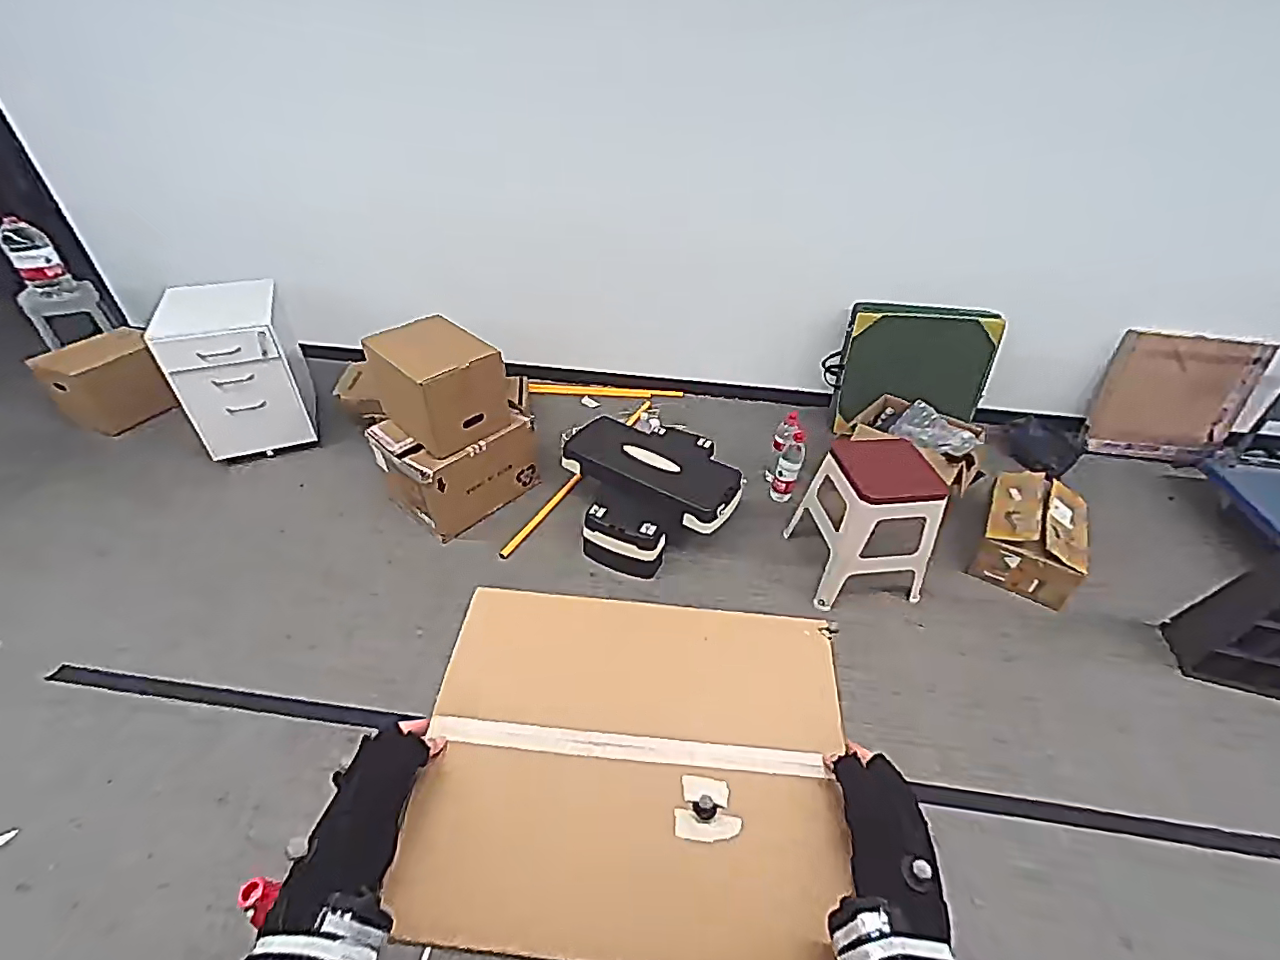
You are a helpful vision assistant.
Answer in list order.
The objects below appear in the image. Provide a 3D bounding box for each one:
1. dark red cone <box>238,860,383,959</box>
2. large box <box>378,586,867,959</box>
[{"bbox_3d":[-0.658,0.804,1.016,0.201,0.394,0.202,12,41,9],"label":"dark red cone"},{"bbox_3d":[-0.012,0.354,0.638,0.408,0.320,0.320,6,48,2],"label":"large box"}]
